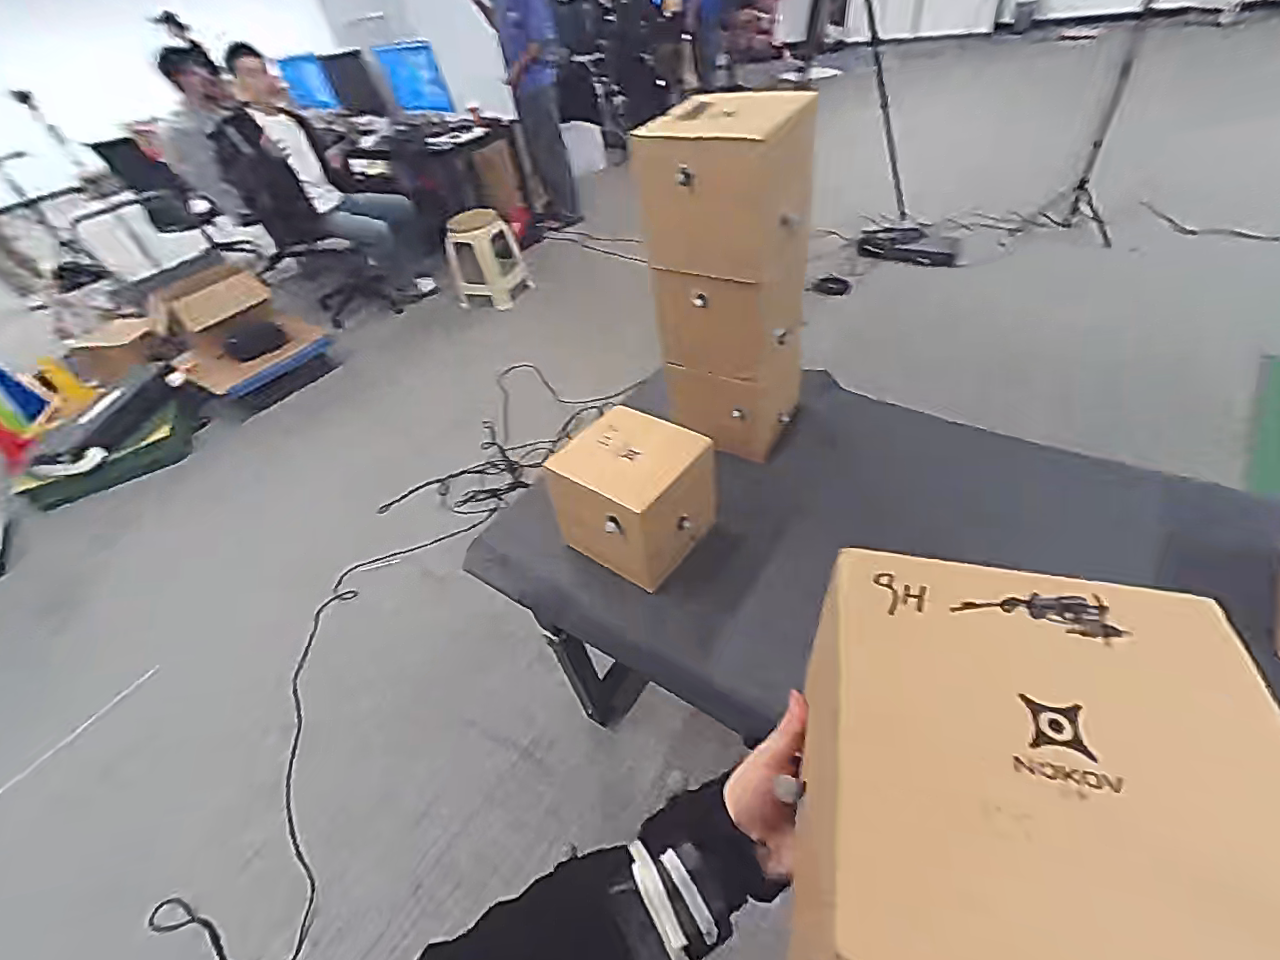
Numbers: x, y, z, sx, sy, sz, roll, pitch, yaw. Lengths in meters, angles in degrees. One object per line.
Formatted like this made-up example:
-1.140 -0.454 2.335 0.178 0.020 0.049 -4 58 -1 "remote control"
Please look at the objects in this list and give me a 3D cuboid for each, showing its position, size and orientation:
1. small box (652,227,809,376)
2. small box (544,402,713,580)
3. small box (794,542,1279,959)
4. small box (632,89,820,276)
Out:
0.141 -0.282 0.832 0.179 0.176 0.168 20 55 27 "small box"
-0.006 0.019 0.789 0.179 0.176 0.168 25 52 31 "small box"
0.172 0.159 0.272 0.168 0.176 0.179 7 47 15 "small box"
0.114 -0.388 0.709 0.179 0.176 0.168 22 55 28 "small box"
